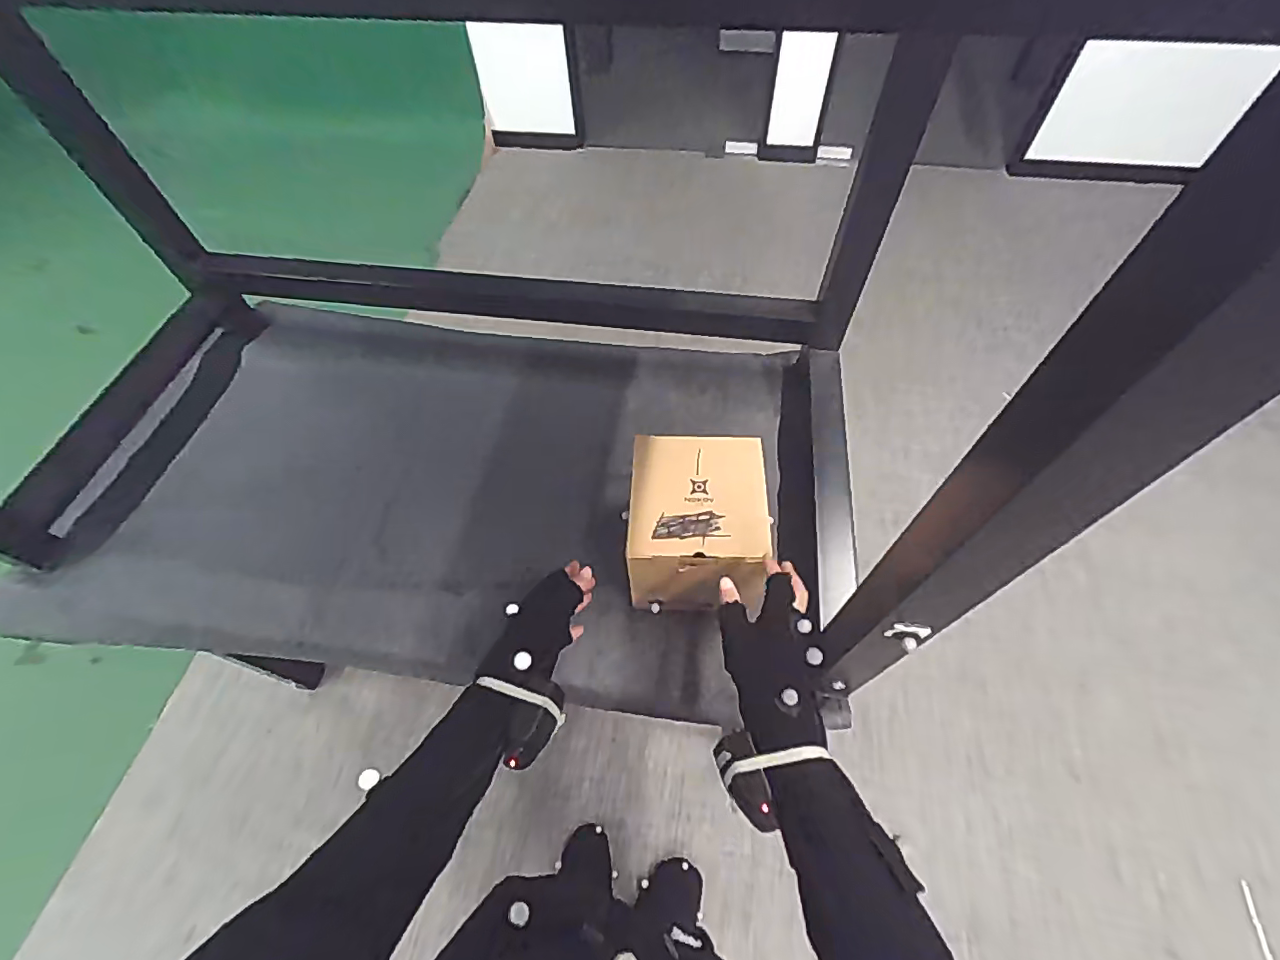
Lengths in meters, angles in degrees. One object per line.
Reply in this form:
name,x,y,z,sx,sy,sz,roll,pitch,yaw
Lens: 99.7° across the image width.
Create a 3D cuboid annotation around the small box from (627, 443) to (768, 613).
small box,0.075,0.069,0.731,0.168,0.176,0.179,1,55,4
